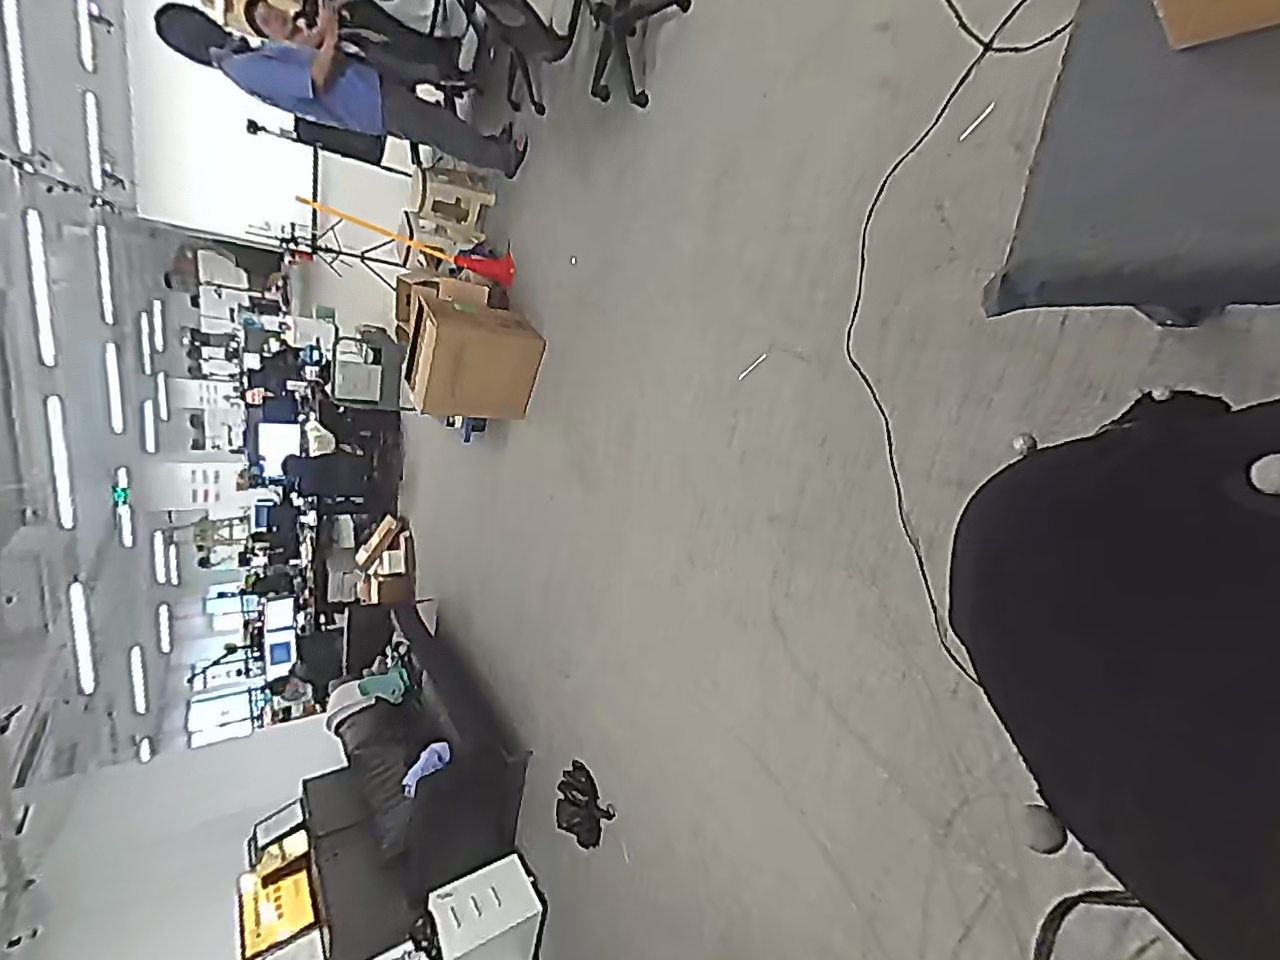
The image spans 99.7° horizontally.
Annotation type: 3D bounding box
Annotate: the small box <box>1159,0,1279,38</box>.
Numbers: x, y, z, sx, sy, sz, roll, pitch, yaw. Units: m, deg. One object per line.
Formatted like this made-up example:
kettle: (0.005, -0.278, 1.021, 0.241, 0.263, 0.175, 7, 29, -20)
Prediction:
small box: (0.546, -0.501, 0.428, 0.179, 0.176, 0.168, 23, 110, 48)
